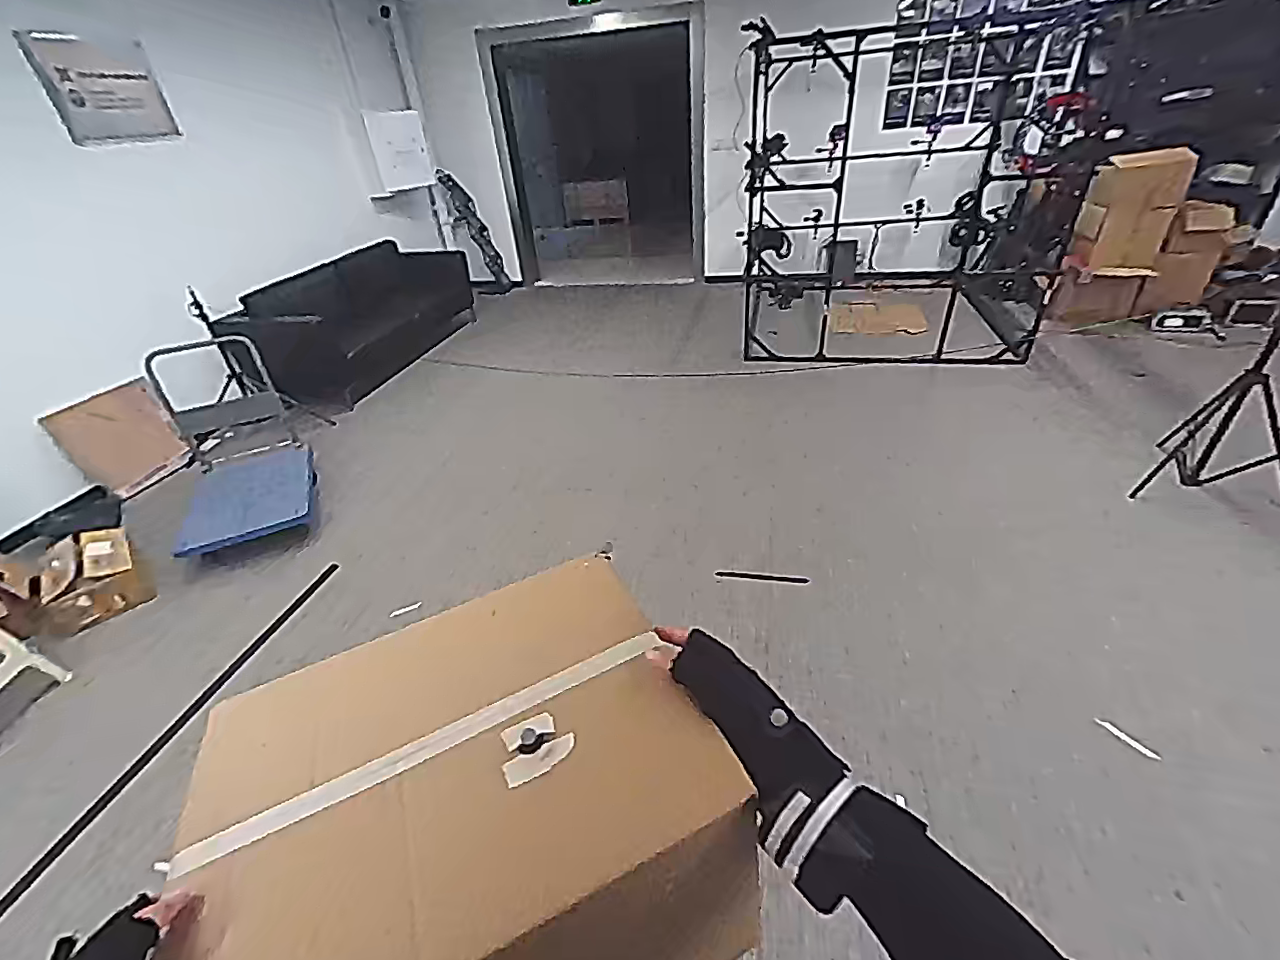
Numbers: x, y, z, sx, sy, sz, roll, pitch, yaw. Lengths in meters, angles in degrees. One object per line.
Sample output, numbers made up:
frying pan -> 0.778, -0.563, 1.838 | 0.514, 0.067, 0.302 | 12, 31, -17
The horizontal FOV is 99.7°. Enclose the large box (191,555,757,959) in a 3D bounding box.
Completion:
large box -> -0.131, 0.345, 0.554 | 0.408, 0.320, 0.320 | -19, 35, -16
